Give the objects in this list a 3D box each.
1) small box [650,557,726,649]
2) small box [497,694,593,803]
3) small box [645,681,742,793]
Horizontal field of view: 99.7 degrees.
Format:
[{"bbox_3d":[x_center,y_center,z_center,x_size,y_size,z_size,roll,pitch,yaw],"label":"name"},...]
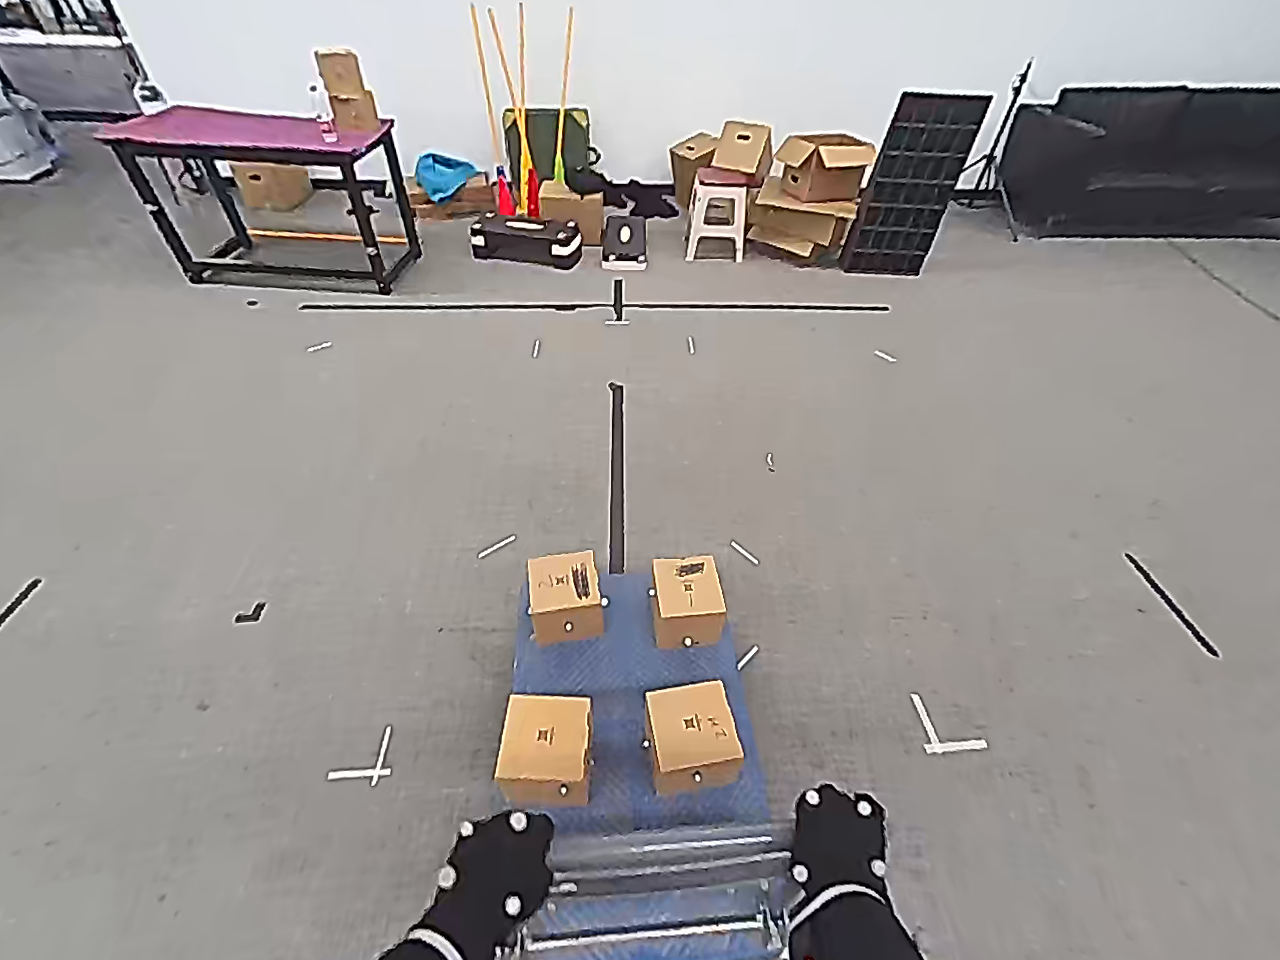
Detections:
[{"bbox_3d":[0.120,0.327,1.440,0.168,0.176,0.179,-3,46,-5],"label":"small box"},{"bbox_3d":[-0.197,0.583,1.170,0.179,0.176,0.168,3,44,-2],"label":"small box"},{"bbox_3d":[0.109,0.570,1.195,0.179,0.176,0.168,-6,46,-8],"label":"small box"}]
